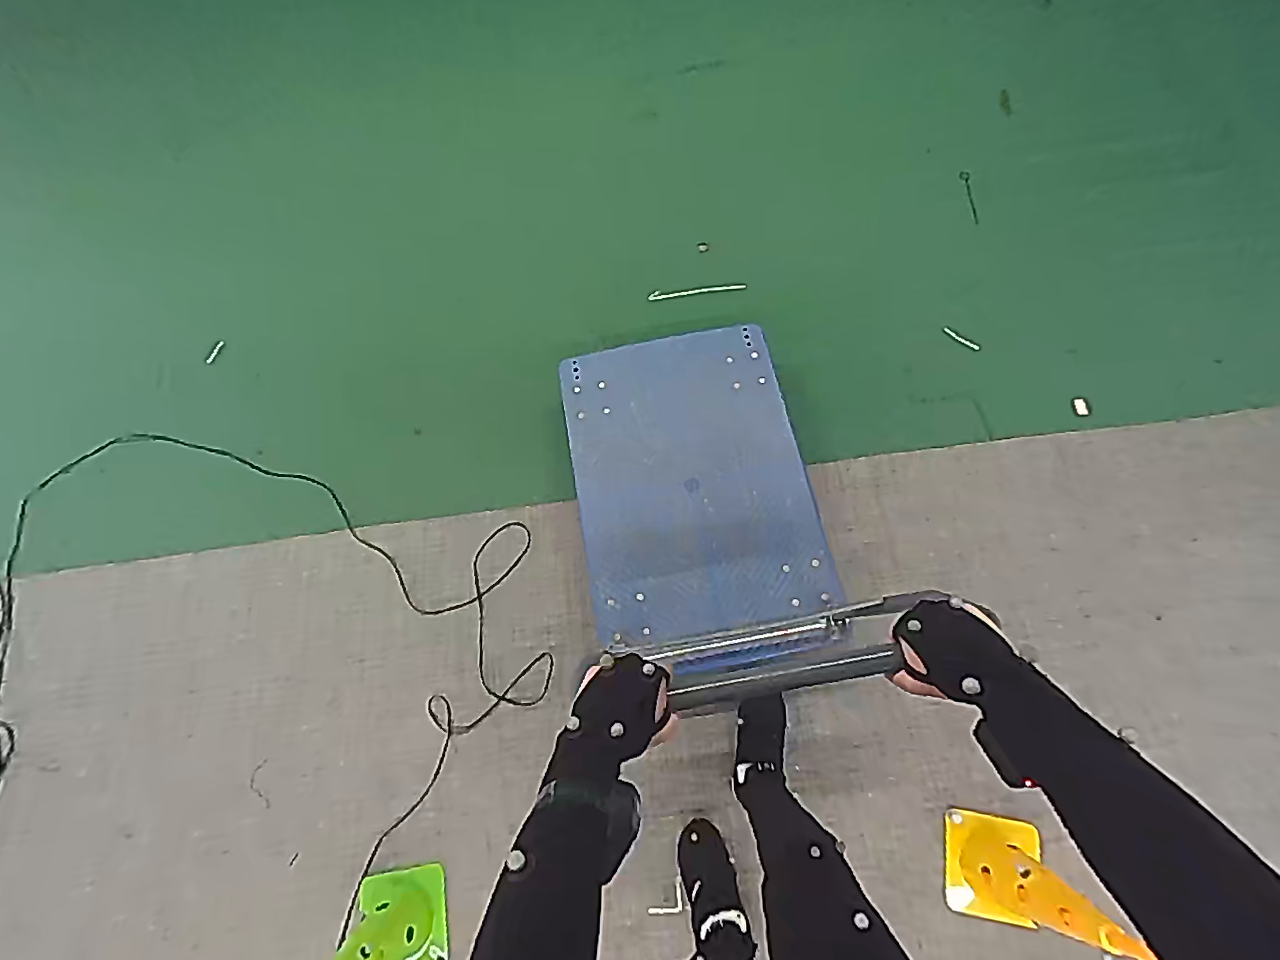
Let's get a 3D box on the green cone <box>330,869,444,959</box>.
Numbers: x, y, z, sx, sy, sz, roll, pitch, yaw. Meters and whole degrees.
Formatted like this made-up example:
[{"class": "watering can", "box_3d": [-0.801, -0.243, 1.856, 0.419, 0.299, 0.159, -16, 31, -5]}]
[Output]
[{"class": "green cone", "box_3d": [-0.559, 0.948, 1.060, 0.202, 0.368, 0.200, -12, 70, 1]}]
